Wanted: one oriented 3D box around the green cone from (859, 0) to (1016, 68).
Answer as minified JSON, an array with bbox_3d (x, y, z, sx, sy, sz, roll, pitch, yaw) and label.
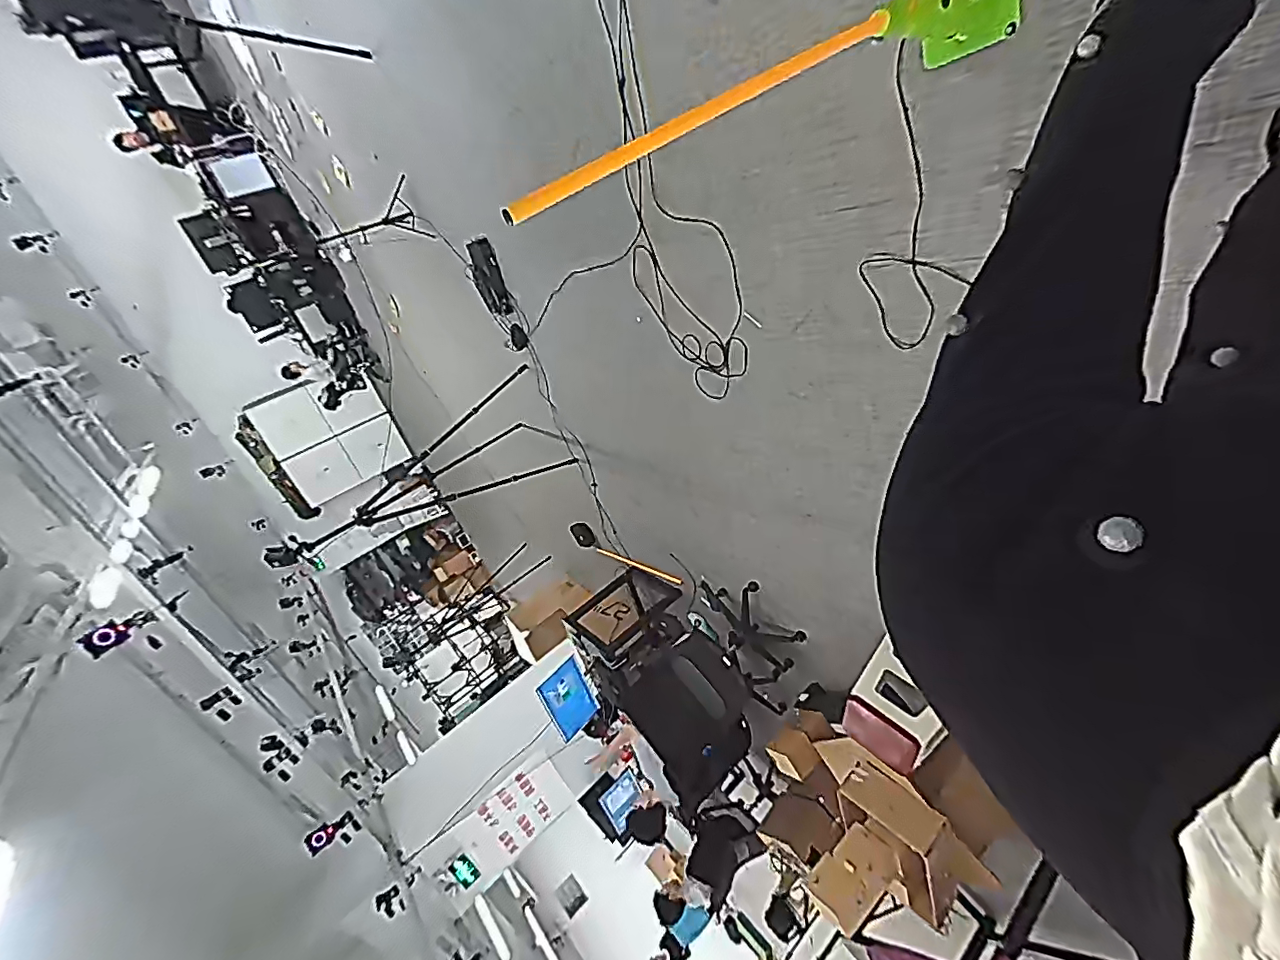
[{"bbox_3d":[0.572,-0.954,1.098,0.202,0.368,0.200,18,135,53],"label":"green cone"}]
